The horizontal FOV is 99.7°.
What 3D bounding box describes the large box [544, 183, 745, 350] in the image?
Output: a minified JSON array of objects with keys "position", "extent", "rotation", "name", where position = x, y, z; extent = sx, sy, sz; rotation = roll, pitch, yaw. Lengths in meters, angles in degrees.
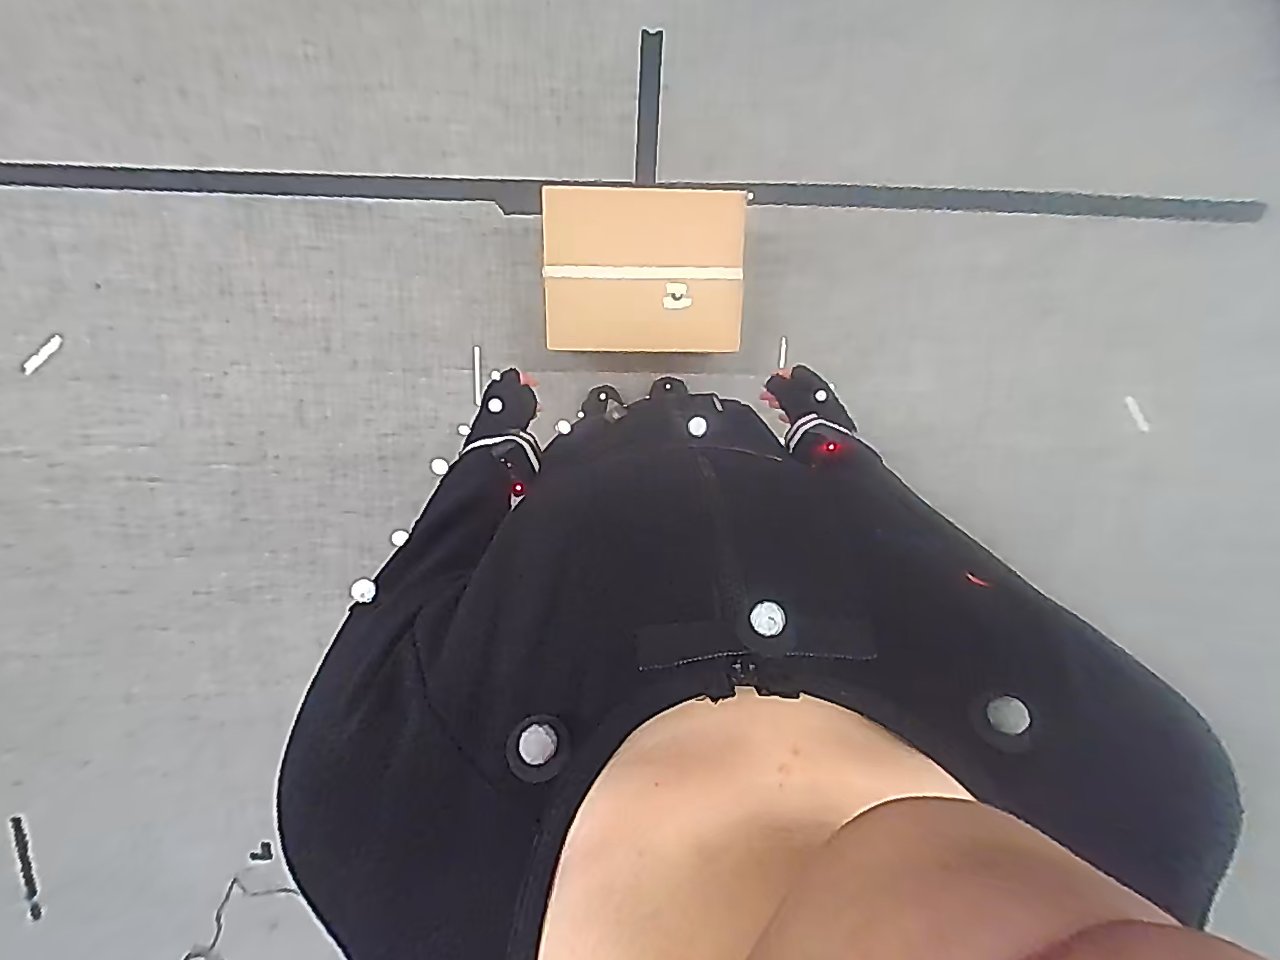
[{"position":[0.001,-0.462,1.235],"extent":[0.408,0.320,0.320],"rotation":[-1,104,-4],"name":"large box"}]
